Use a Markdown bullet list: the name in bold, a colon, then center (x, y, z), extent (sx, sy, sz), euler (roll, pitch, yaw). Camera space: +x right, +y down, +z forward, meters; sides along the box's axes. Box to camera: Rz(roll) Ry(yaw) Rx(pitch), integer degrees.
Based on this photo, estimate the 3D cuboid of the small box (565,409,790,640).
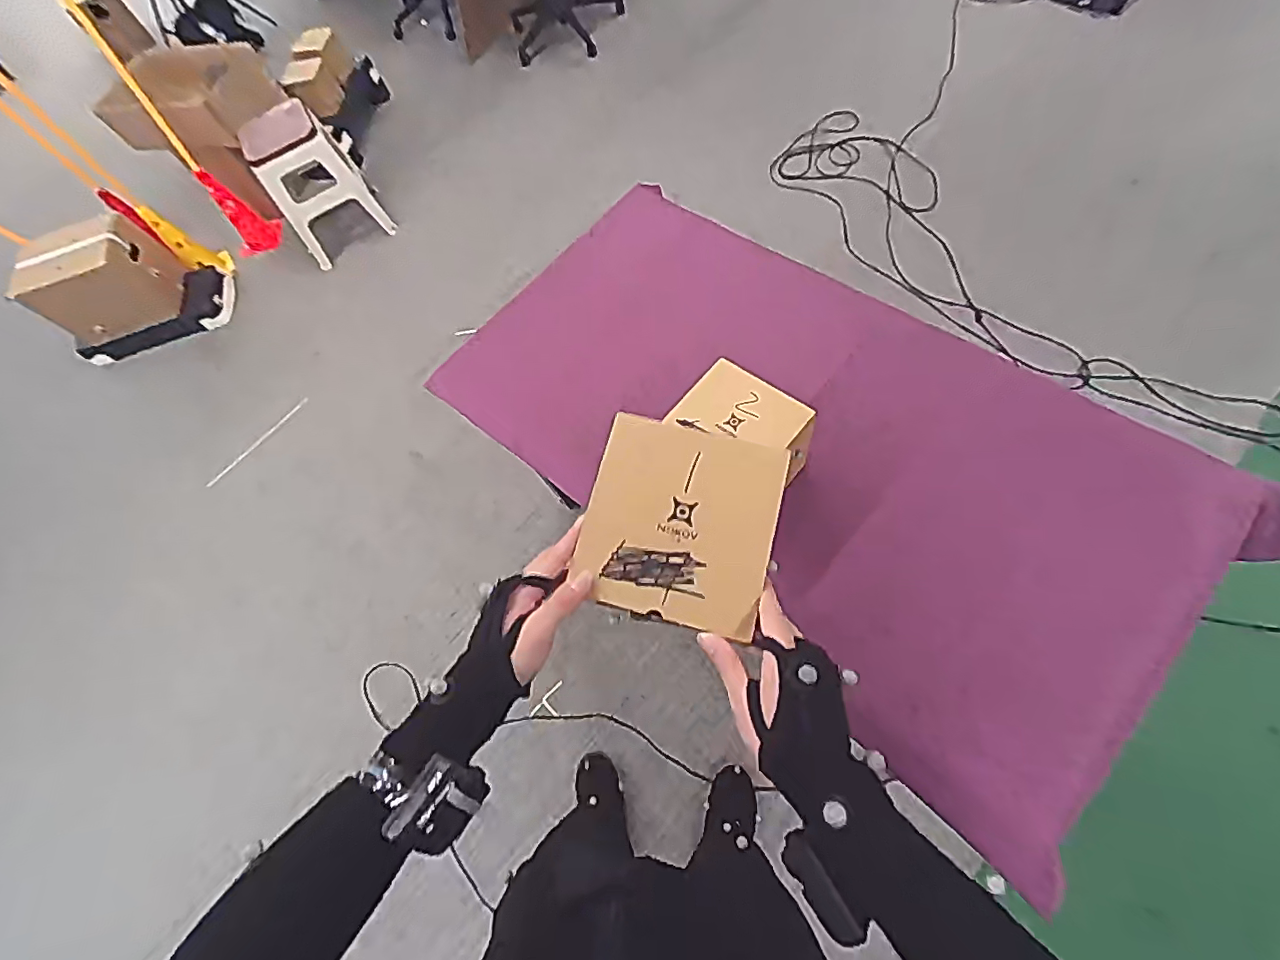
- **small box**: center (0.042, 0.054, 0.548), extent (0.168, 0.176, 0.179), euler (13, 75, 9)
